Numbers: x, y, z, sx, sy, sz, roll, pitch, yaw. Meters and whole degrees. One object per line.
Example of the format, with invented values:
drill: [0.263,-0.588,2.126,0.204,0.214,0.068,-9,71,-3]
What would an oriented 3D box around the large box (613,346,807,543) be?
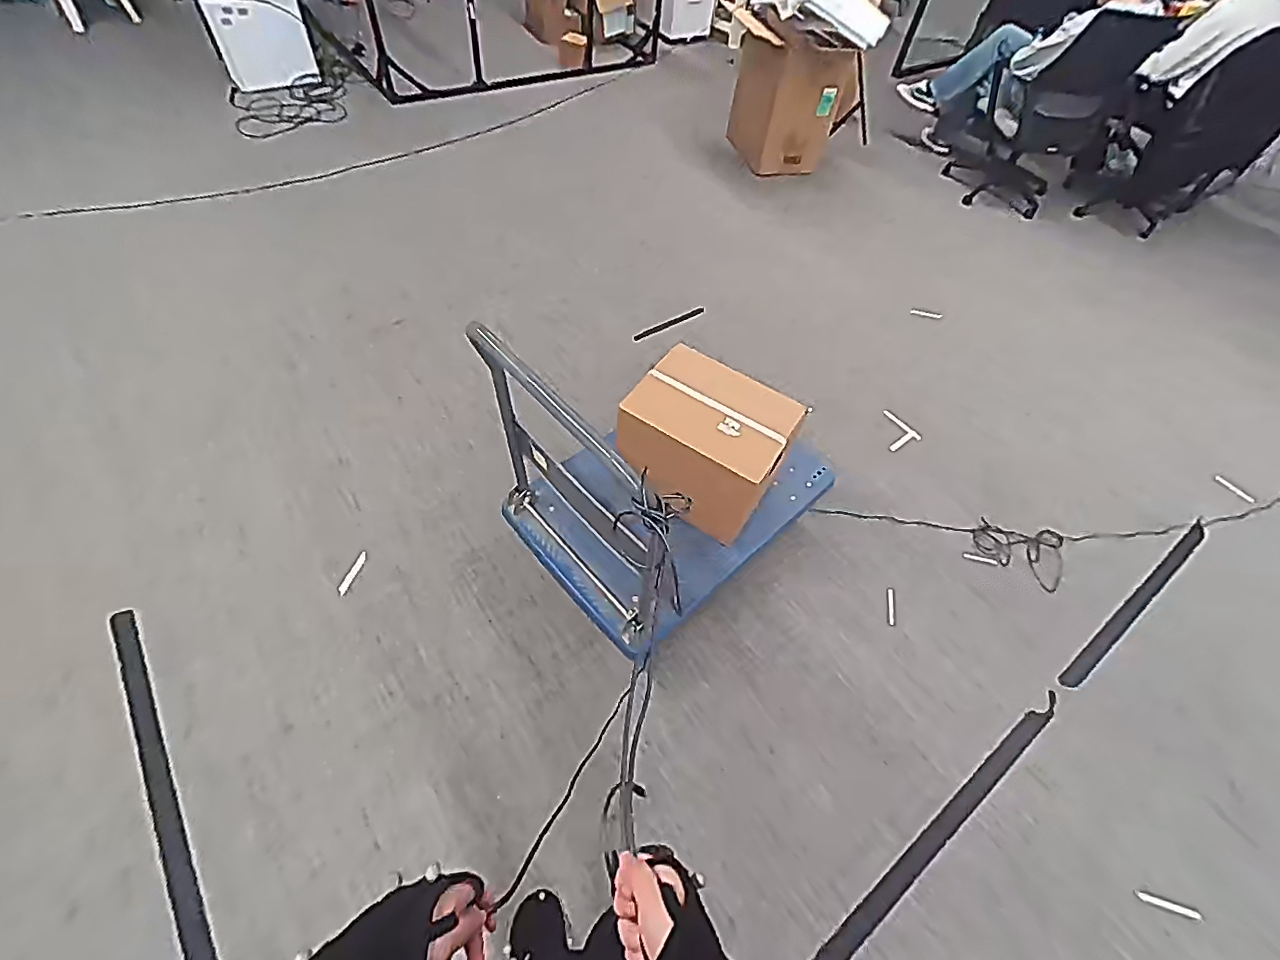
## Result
large box: [0.178,-0.099,1.511,0.408,0.320,0.320,31,58,14]
